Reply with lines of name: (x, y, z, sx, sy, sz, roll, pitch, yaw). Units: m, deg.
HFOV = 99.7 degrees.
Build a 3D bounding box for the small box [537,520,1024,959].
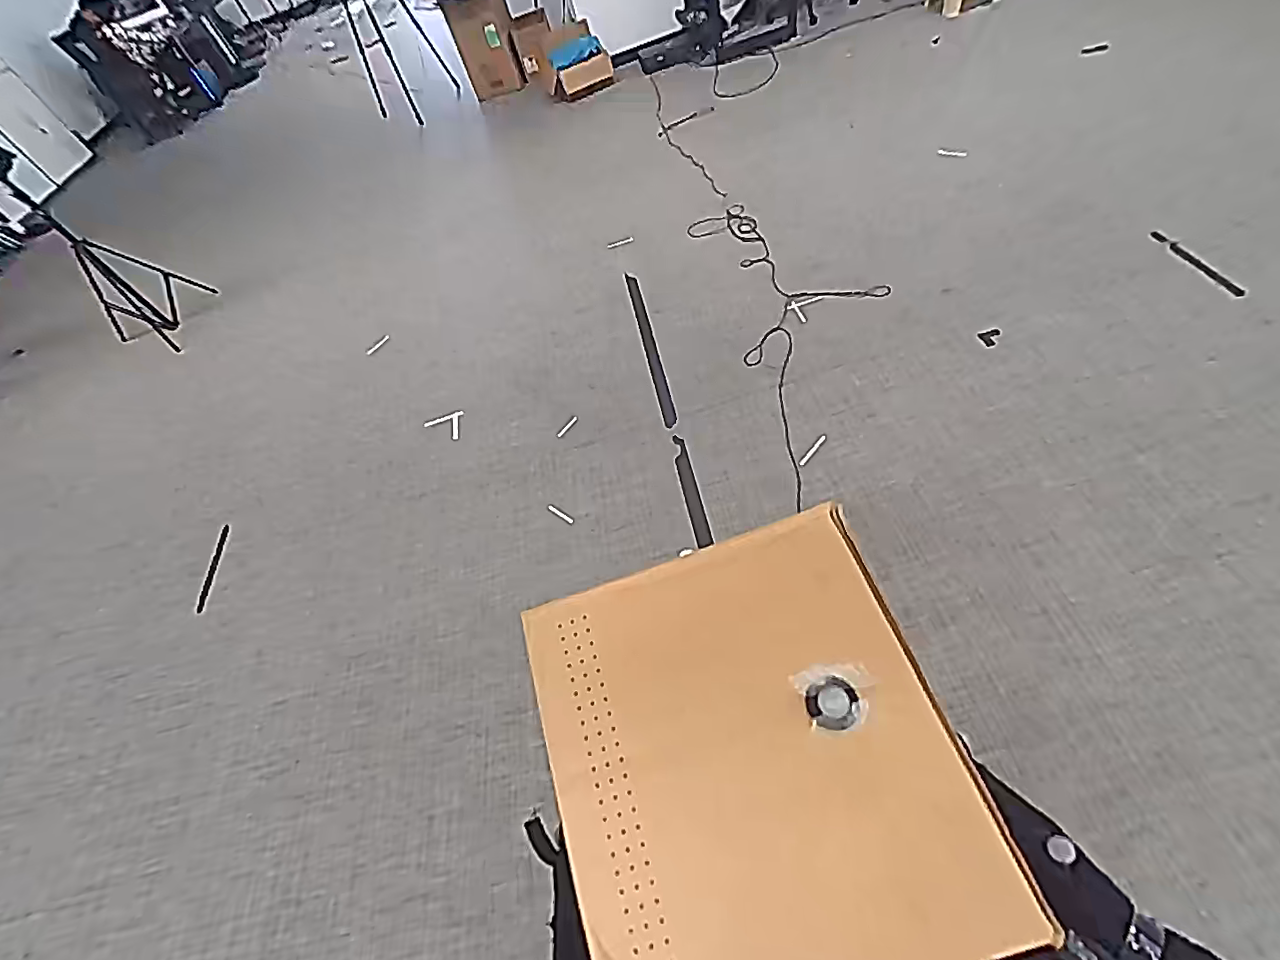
small box: (0.055, 0.153, 0.309, 0.176, 0.168, 0.179, -21, 63, 3)
